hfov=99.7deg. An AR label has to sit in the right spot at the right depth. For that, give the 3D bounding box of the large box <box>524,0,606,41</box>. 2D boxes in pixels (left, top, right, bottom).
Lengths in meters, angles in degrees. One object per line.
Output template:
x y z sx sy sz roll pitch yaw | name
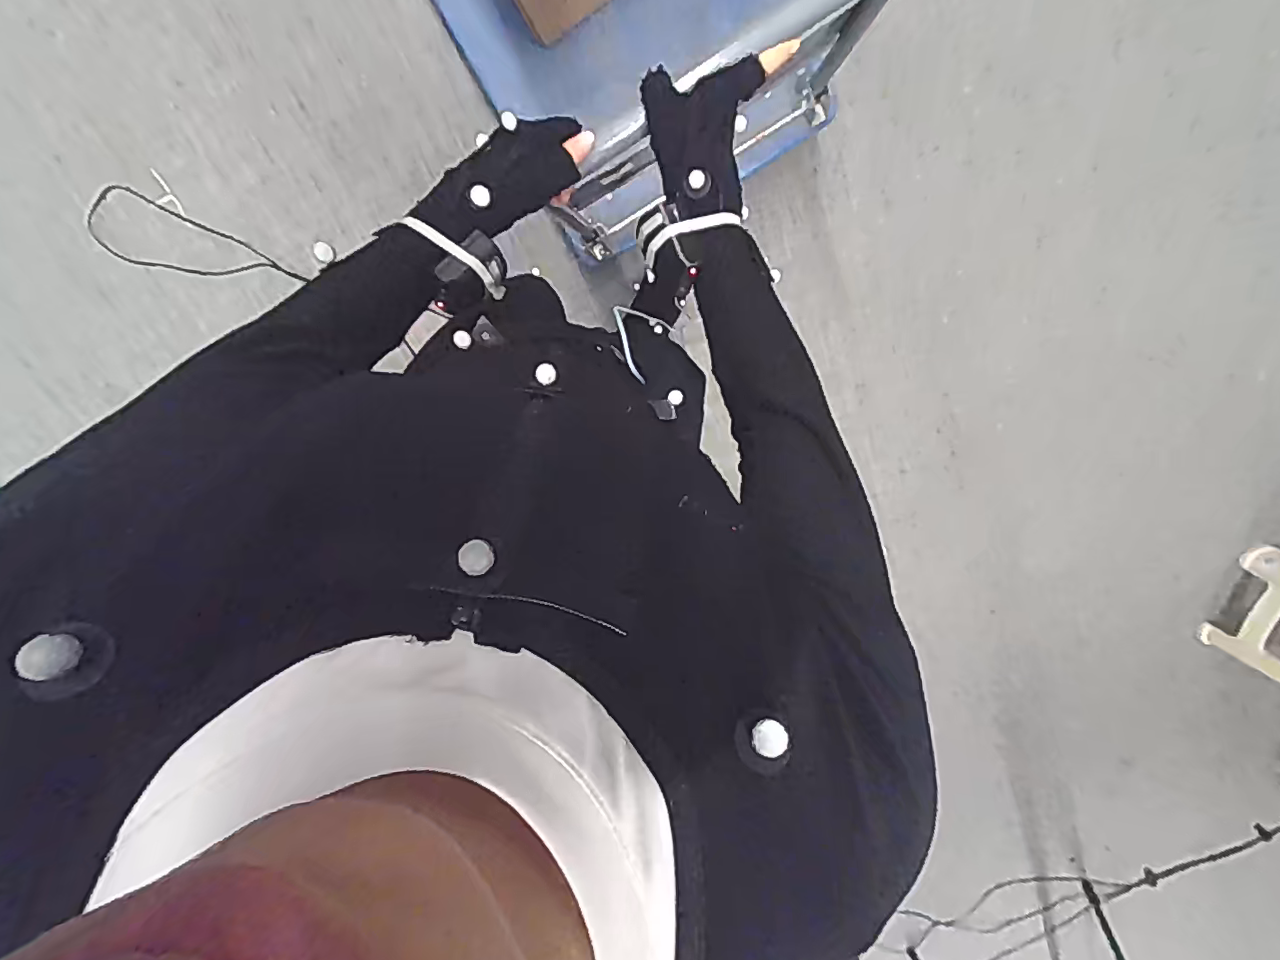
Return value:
-0.081 -0.963 0.776 0.408 0.320 0.320 -29 109 14 | large box
